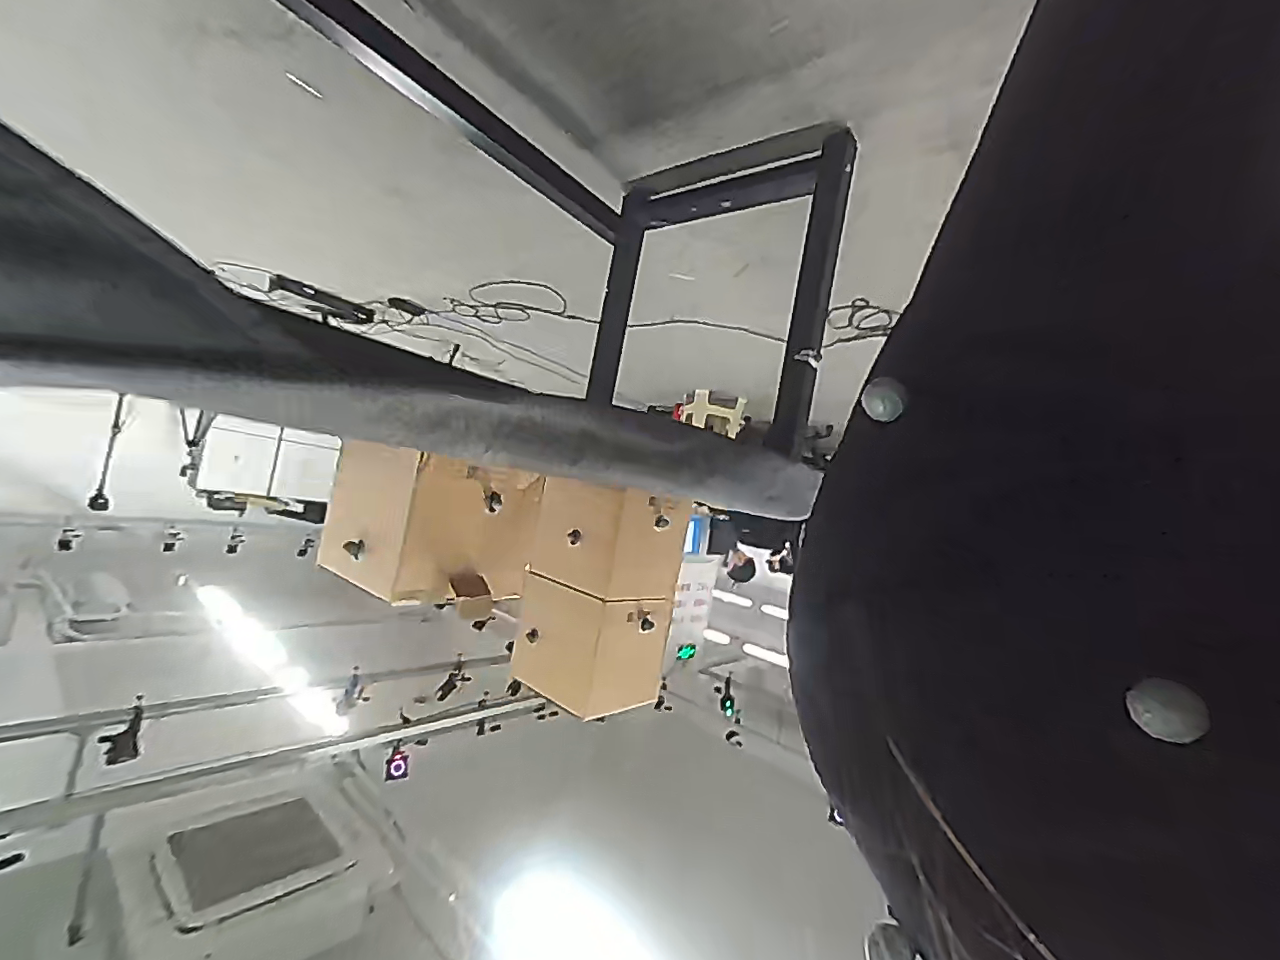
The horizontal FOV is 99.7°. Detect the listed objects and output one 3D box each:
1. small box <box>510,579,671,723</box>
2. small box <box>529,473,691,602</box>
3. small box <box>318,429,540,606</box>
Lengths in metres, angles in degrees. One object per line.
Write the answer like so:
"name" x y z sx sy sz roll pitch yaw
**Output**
"small box" -0.072 0.245 0.840 0.179 0.176 0.168 8 178 41
"small box" -0.042 0.086 0.844 0.179 0.176 0.168 9 178 41
"small box" -0.239 0.040 0.631 0.179 0.176 0.168 9 177 38
